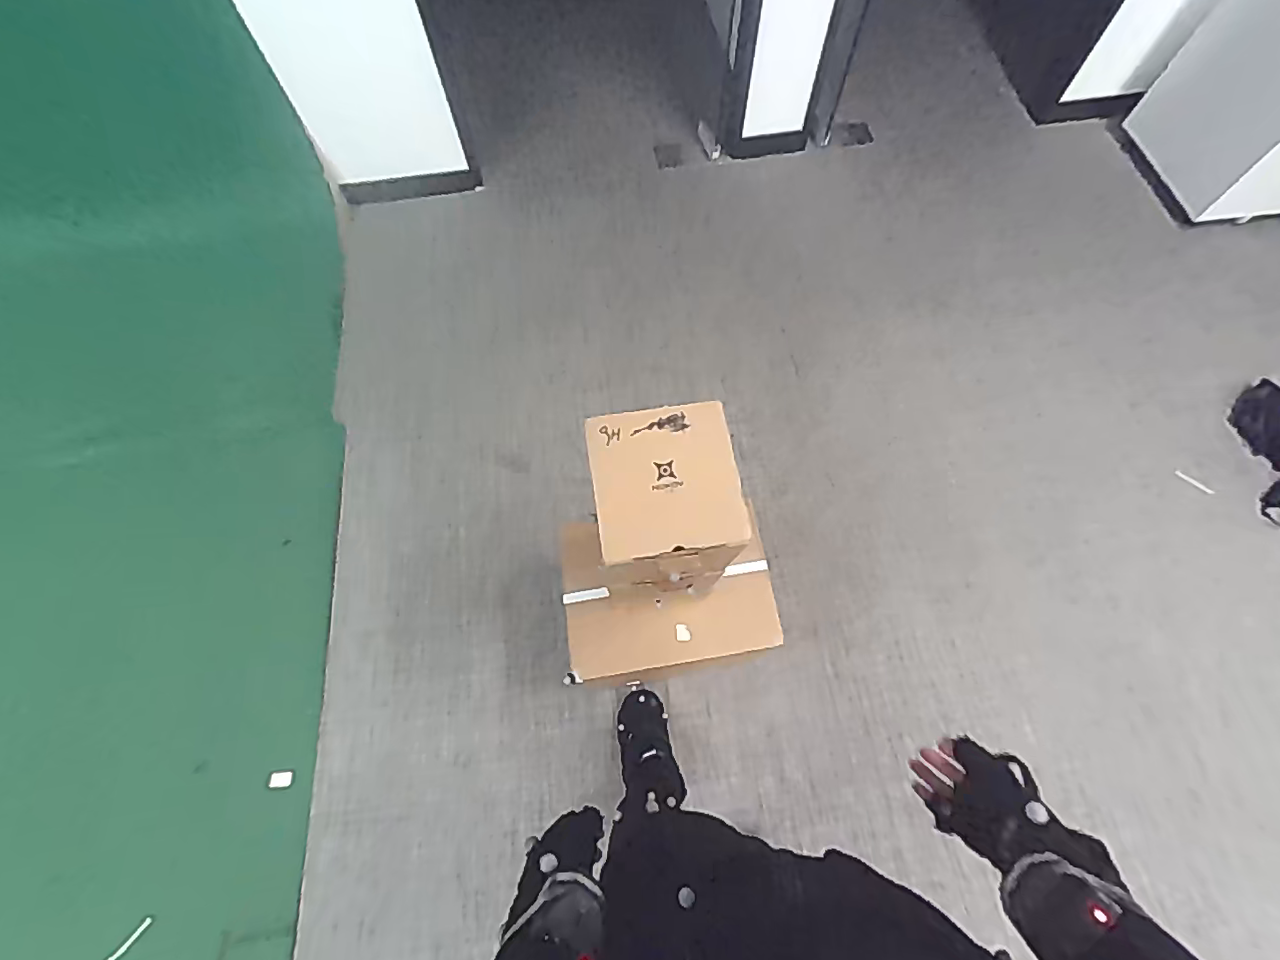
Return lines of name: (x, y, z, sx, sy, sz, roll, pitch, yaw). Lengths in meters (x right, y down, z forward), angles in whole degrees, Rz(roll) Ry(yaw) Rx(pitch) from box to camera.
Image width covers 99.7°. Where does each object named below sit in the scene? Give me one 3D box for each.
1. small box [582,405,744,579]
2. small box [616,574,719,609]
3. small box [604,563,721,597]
small box: (0.024, 0.027, 0.691, 0.168, 0.176, 0.179, -9, 73, -3)
small box: (0.034, 0.138, 0.997, 0.179, 0.176, 0.168, -9, 72, -3)
small box: (0.023, 0.083, 0.845, 0.168, 0.176, 0.179, -8, 71, -3)
